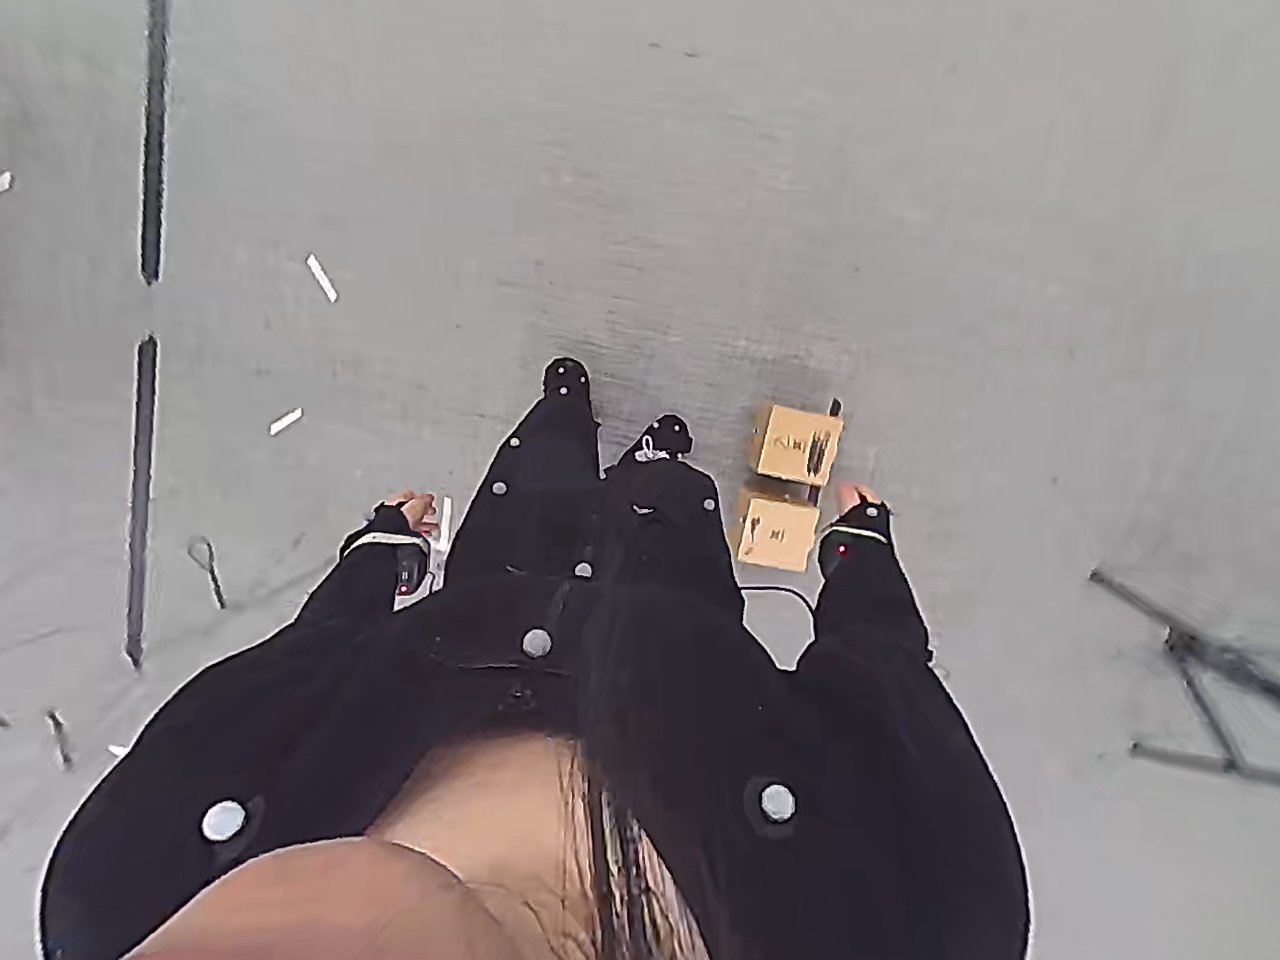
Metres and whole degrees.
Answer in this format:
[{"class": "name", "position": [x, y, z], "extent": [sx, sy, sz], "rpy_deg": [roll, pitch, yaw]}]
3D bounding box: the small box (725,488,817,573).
[{"class": "small box", "position": [0.336, 0.126, 1.421], "extent": [0.179, 0.176, 0.168], "rpy_deg": [11, 102, -2]}]
